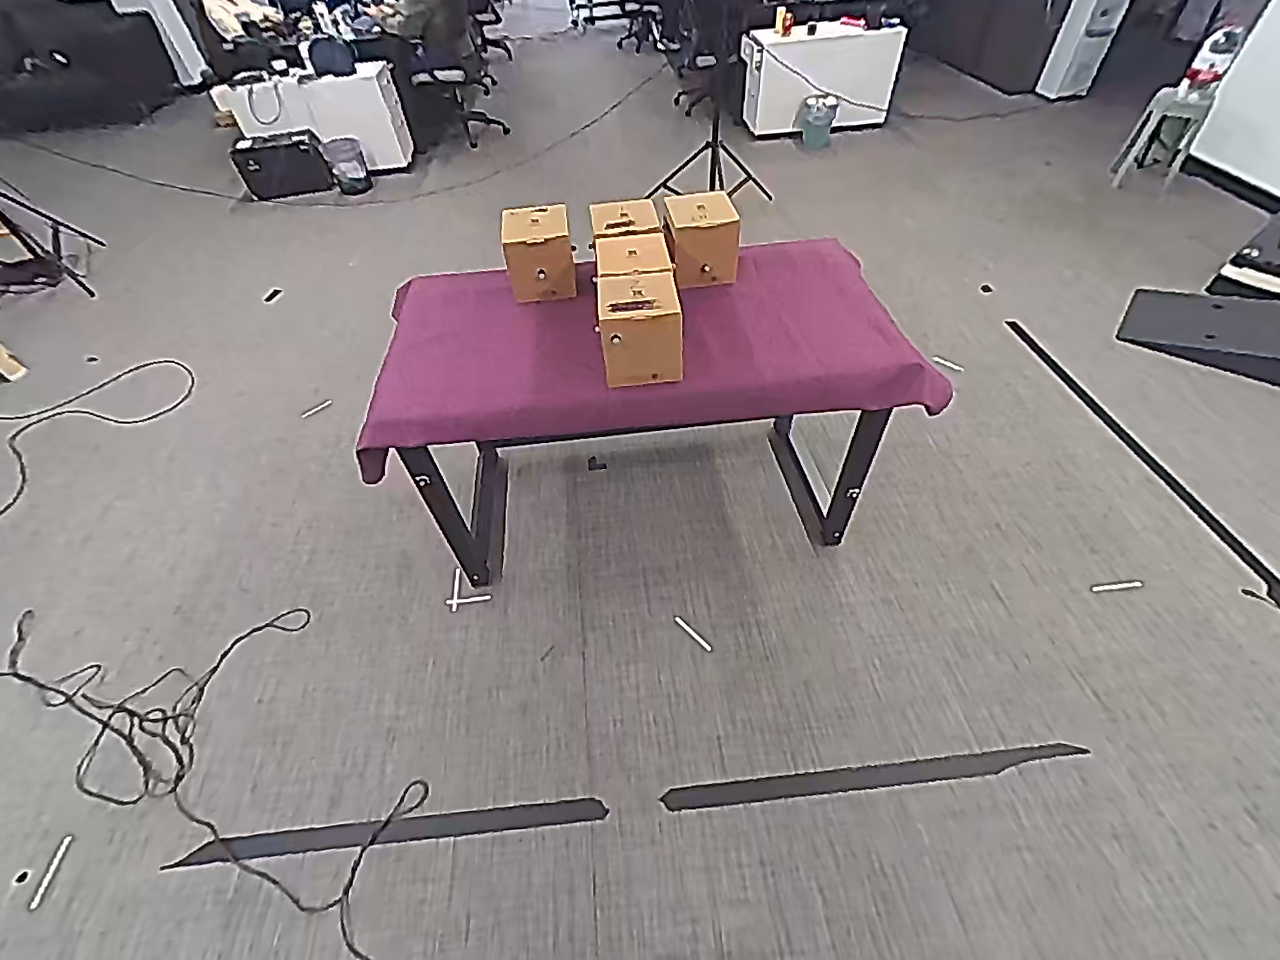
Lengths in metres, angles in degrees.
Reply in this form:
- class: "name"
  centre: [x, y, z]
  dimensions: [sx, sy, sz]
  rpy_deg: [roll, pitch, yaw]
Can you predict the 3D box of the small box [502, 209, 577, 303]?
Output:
- class: "small box"
  centre: [-0.259, -0.582, 1.420]
  dimensions: [0.168, 0.176, 0.179]
  rpy_deg: [-7, 52, -3]
